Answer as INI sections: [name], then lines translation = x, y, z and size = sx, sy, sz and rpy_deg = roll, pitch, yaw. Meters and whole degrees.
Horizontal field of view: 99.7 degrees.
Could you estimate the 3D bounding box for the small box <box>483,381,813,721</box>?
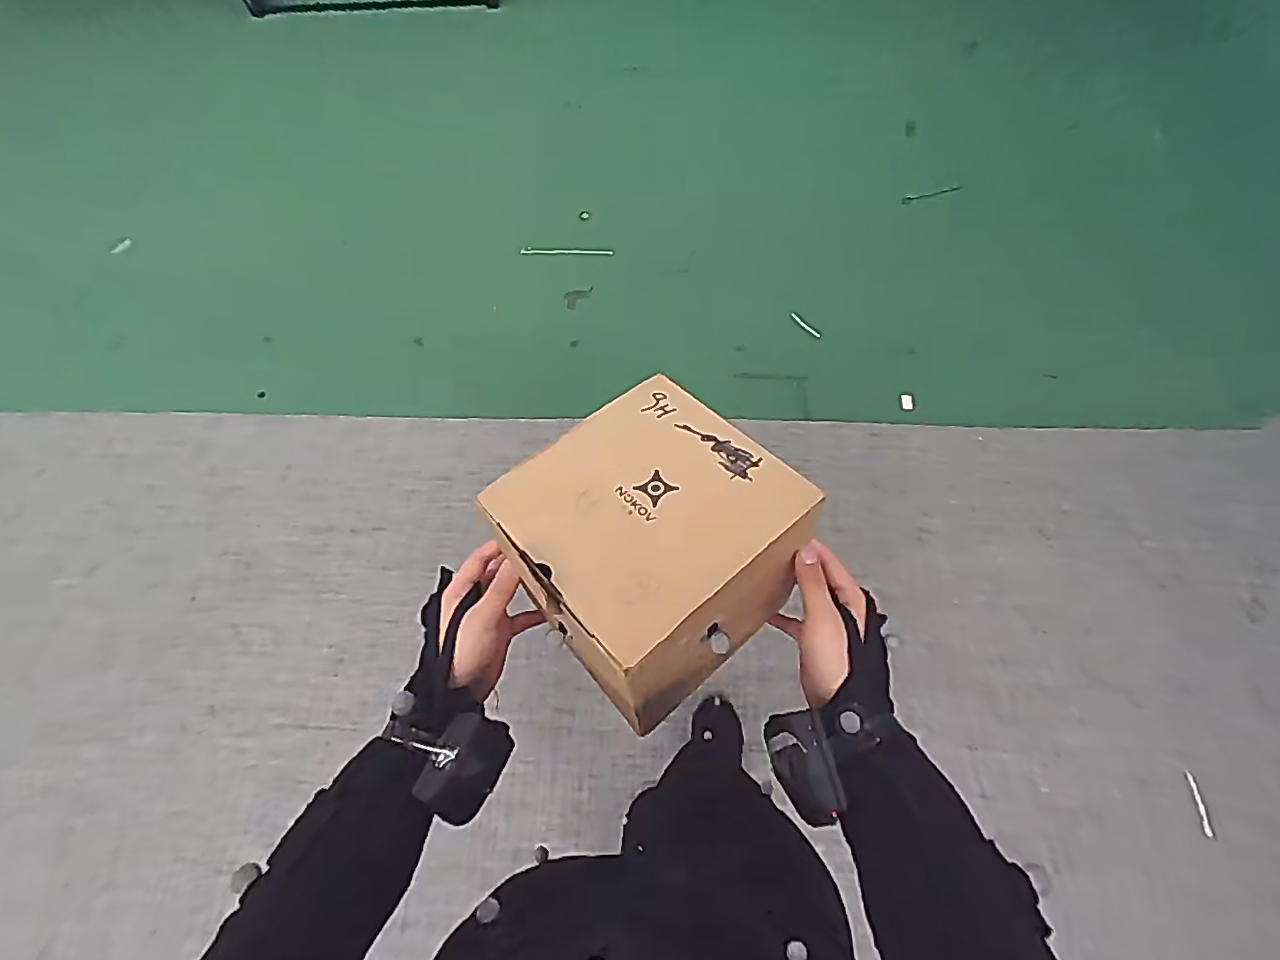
[small box]
translation = 0.010, 0.061, 0.438
size = 0.179, 0.176, 0.168
rpy_deg = -37, 59, -20
